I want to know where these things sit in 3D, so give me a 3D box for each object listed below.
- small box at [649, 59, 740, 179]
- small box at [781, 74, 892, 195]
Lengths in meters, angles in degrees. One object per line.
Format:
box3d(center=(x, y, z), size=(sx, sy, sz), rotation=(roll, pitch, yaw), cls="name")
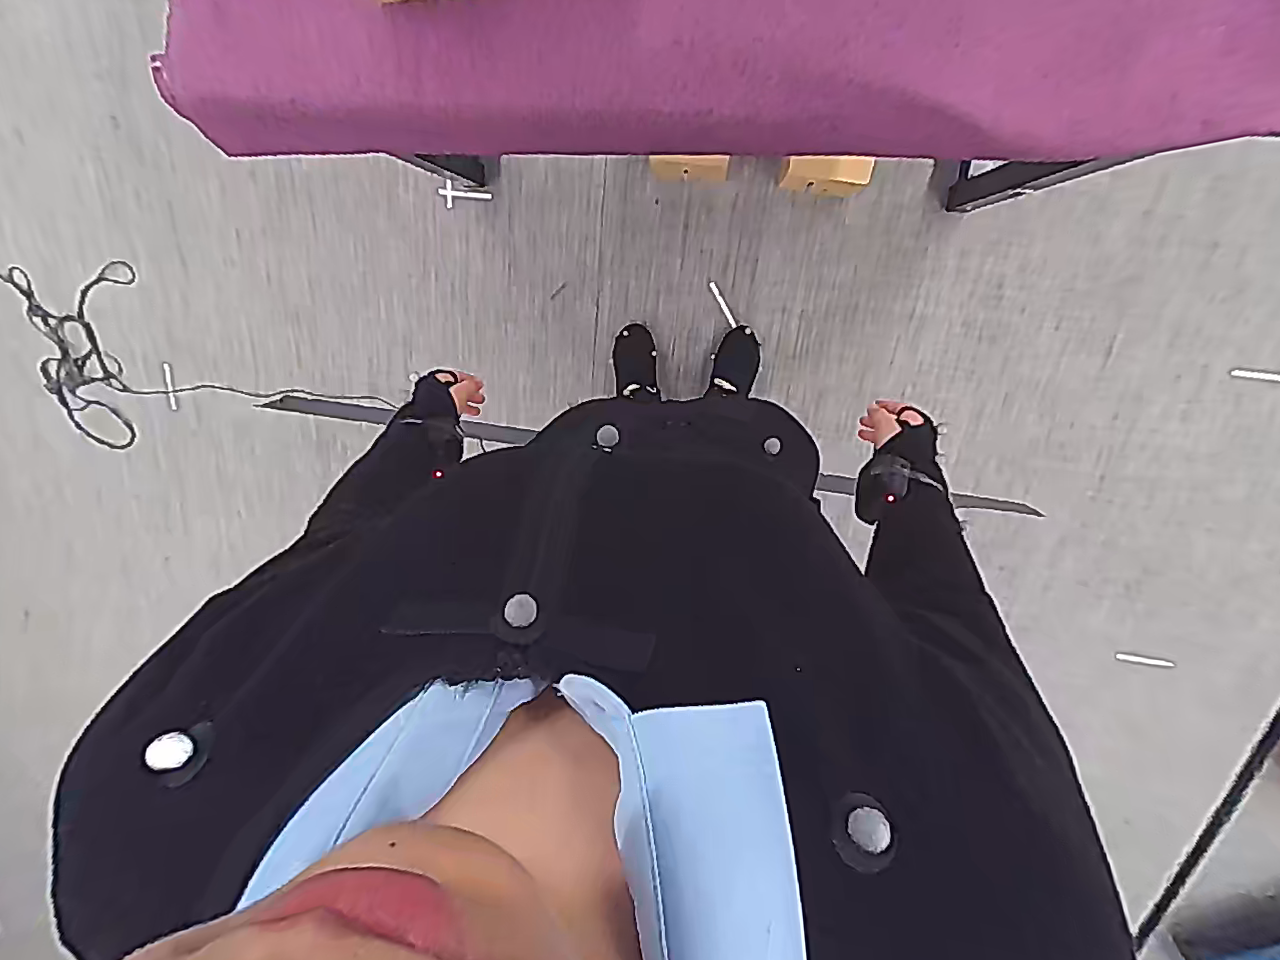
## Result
box3d(center=(0.117, -0.764, 1.162), size=(0.168, 0.176, 0.179), rotation=(8, 109, 4), cls="small box")
box3d(center=(0.403, -0.719, 1.146), size=(0.168, 0.176, 0.179), rotation=(10, 109, 3), cls="small box")
